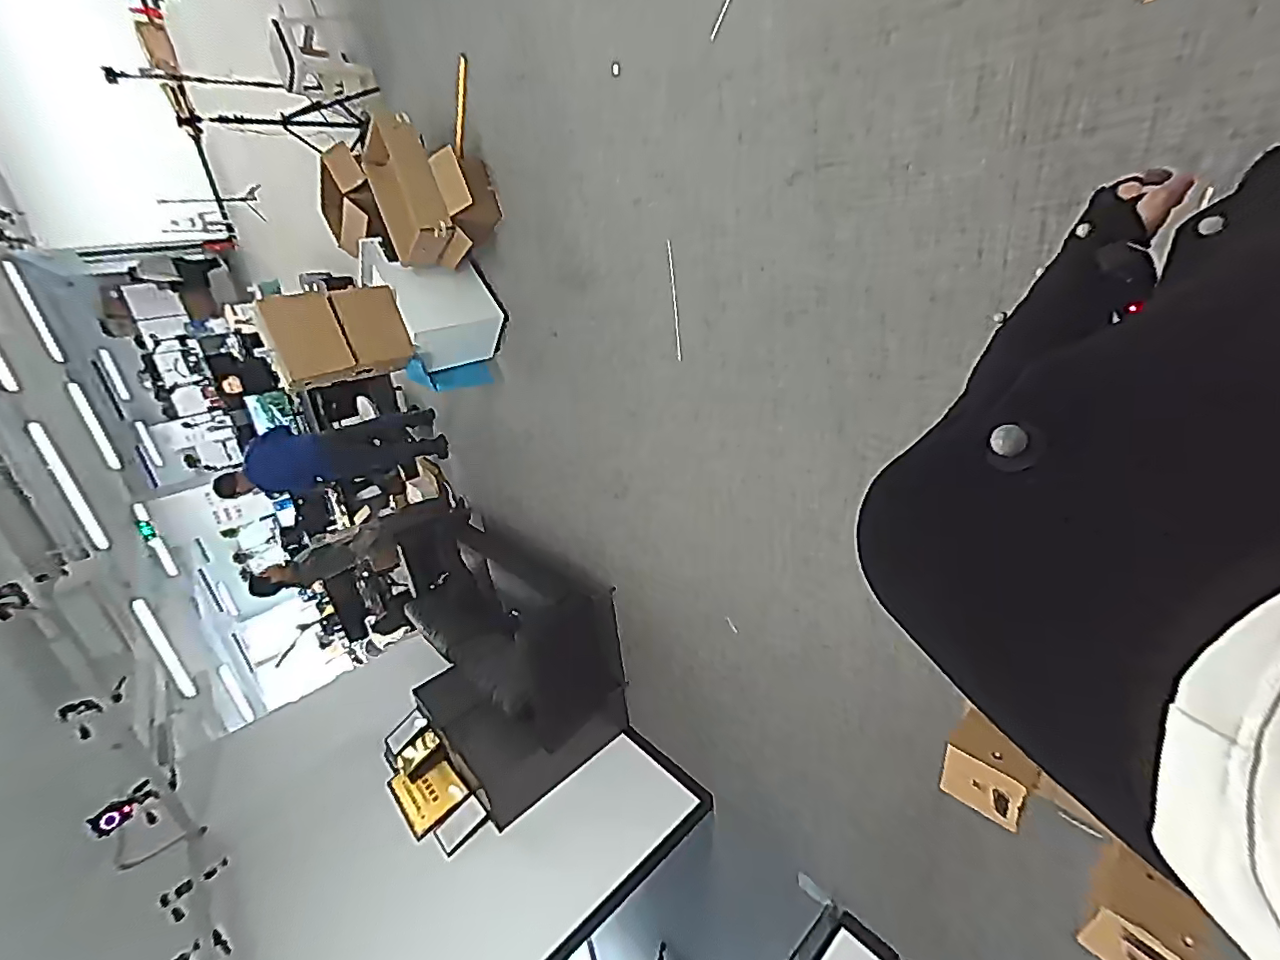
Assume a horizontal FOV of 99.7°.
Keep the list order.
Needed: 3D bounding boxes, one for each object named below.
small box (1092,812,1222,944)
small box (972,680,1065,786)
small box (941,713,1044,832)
[{"bbox_3d":[1.273,0.965,1.333,0.179,0.176,0.168,28,131,40],"label":"small box"},{"bbox_3d":[1.031,0.682,1.488,0.179,0.176,0.168,18,122,44],"label":"small box"},{"bbox_3d":[0.909,0.741,1.393,0.179,0.176,0.168,19,123,44],"label":"small box"}]
